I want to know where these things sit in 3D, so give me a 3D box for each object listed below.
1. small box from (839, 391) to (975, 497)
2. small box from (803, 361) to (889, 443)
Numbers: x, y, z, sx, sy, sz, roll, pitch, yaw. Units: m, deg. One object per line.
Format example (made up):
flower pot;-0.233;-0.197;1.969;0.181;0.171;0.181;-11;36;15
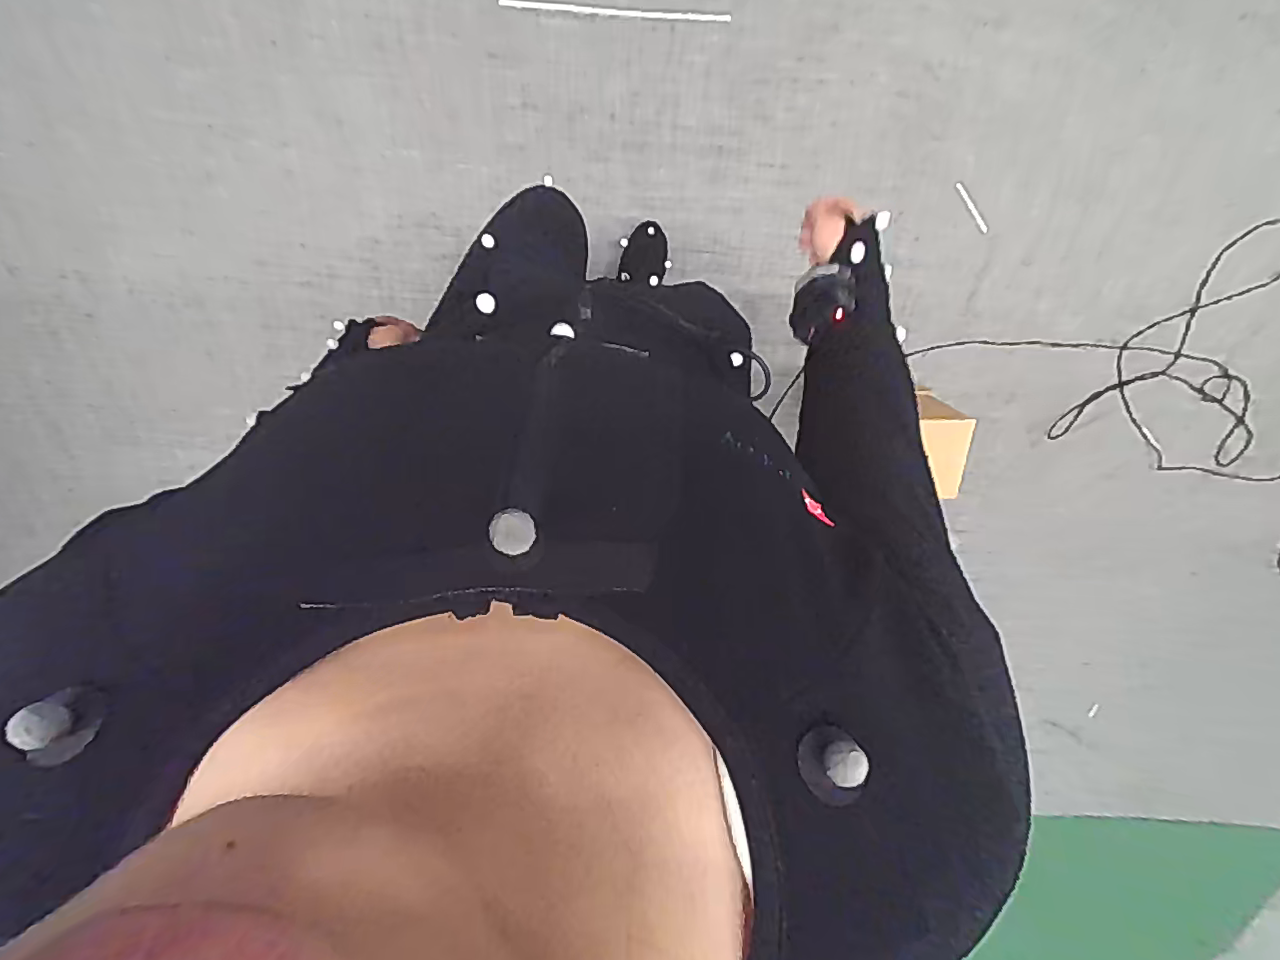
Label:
small box;0.521;-0.077;1.081;0.179;0.176;0.168;-1;115;1
small box;0.527;-0.203;1.382;0.179;0.176;0.168;-4;115;1
